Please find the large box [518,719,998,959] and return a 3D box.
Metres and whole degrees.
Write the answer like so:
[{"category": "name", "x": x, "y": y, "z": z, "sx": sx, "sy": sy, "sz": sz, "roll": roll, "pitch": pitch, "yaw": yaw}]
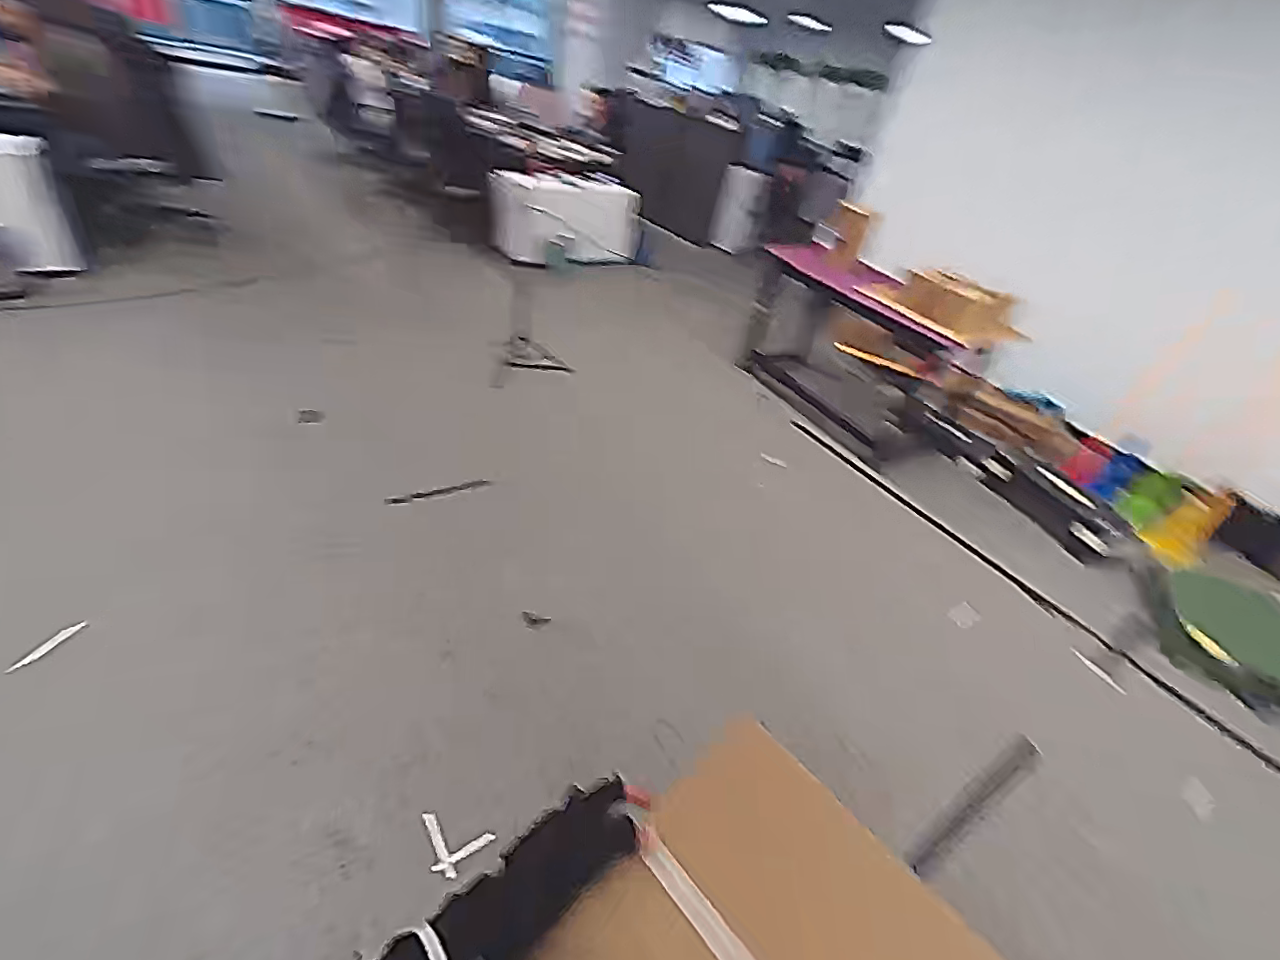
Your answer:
[{"category": "large box", "x": 0.127, "y": 0.531, "z": 0.518, "sx": 0.320, "sy": 0.320, "sz": 0.408, "roll": -34, "pitch": 57, "yaw": -28}]
